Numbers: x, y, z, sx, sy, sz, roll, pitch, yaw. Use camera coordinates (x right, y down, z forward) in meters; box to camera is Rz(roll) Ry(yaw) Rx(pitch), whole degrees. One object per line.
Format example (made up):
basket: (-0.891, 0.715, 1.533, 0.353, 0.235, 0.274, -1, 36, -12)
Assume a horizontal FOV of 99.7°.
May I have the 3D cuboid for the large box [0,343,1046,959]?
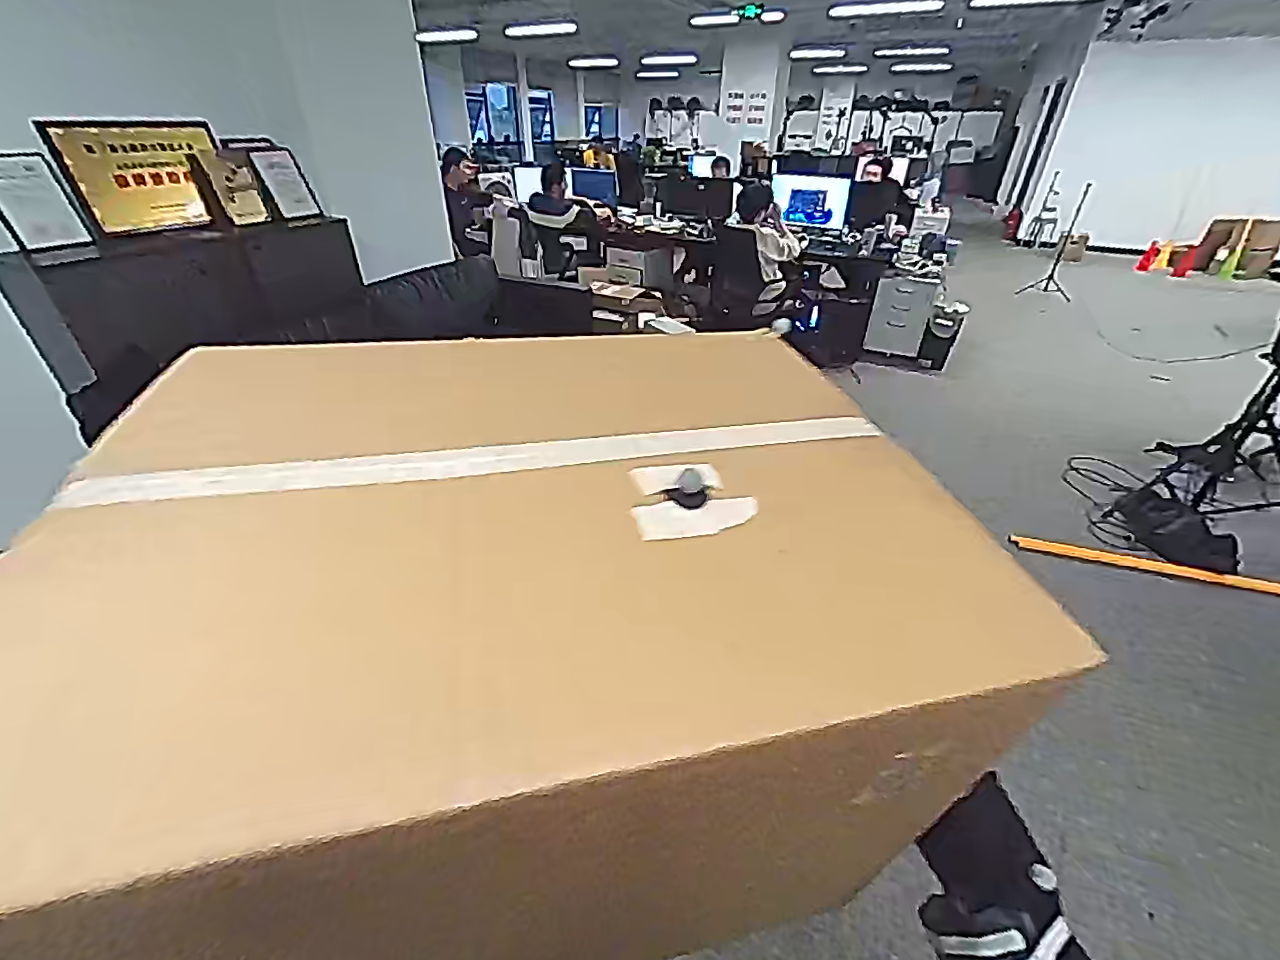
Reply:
large box: (-0.065, 0.112, 0.383, 0.408, 0.320, 0.320, -5, 40, -14)
